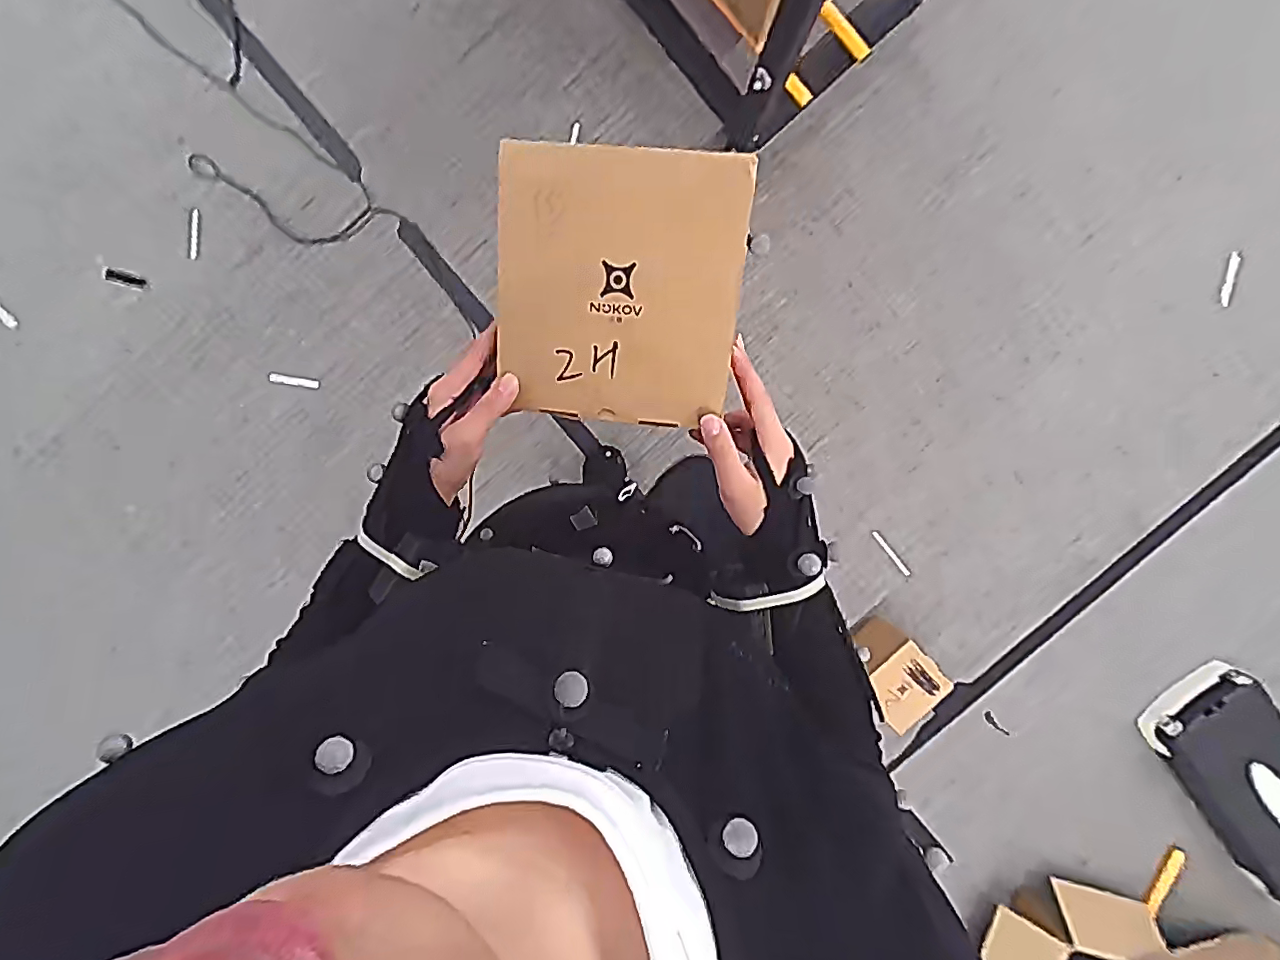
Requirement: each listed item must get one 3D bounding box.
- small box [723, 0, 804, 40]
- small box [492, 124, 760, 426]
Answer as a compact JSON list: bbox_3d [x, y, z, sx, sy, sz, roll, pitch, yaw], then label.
[{"bbox_3d":[0.263,-1.039,1.062,0.179,0.176,0.168,-42,95,4],"label":"small box"},{"bbox_3d":[-0.007,-0.151,0.428,0.168,0.176,0.179,7,108,6],"label":"small box"}]
